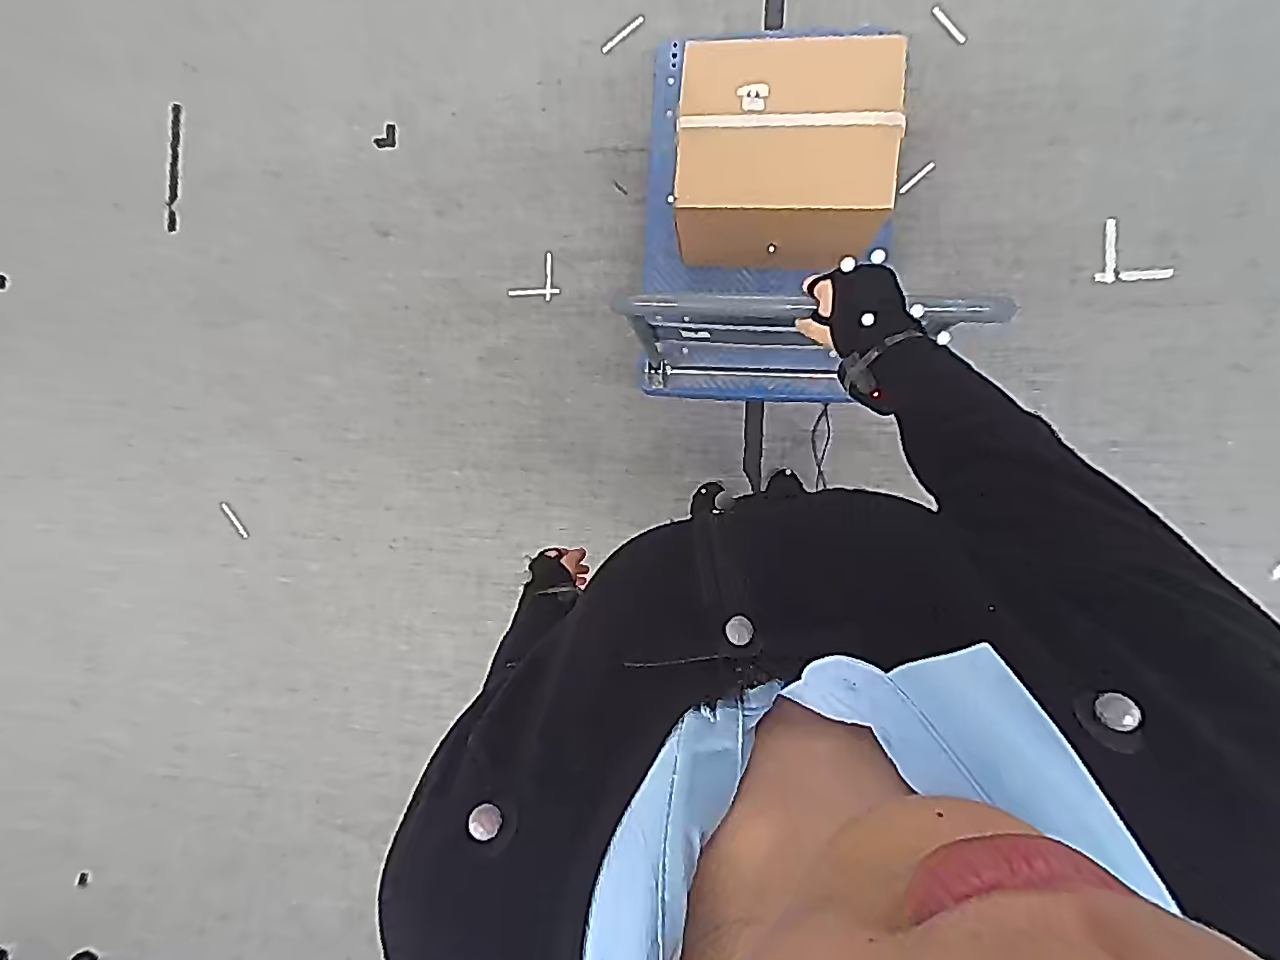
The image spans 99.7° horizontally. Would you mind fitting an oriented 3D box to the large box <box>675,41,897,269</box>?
[{"bbox_3d":[0.295,-0.663,1.168,0.408,0.320,0.320,3,91,9],"label":"large box"}]
